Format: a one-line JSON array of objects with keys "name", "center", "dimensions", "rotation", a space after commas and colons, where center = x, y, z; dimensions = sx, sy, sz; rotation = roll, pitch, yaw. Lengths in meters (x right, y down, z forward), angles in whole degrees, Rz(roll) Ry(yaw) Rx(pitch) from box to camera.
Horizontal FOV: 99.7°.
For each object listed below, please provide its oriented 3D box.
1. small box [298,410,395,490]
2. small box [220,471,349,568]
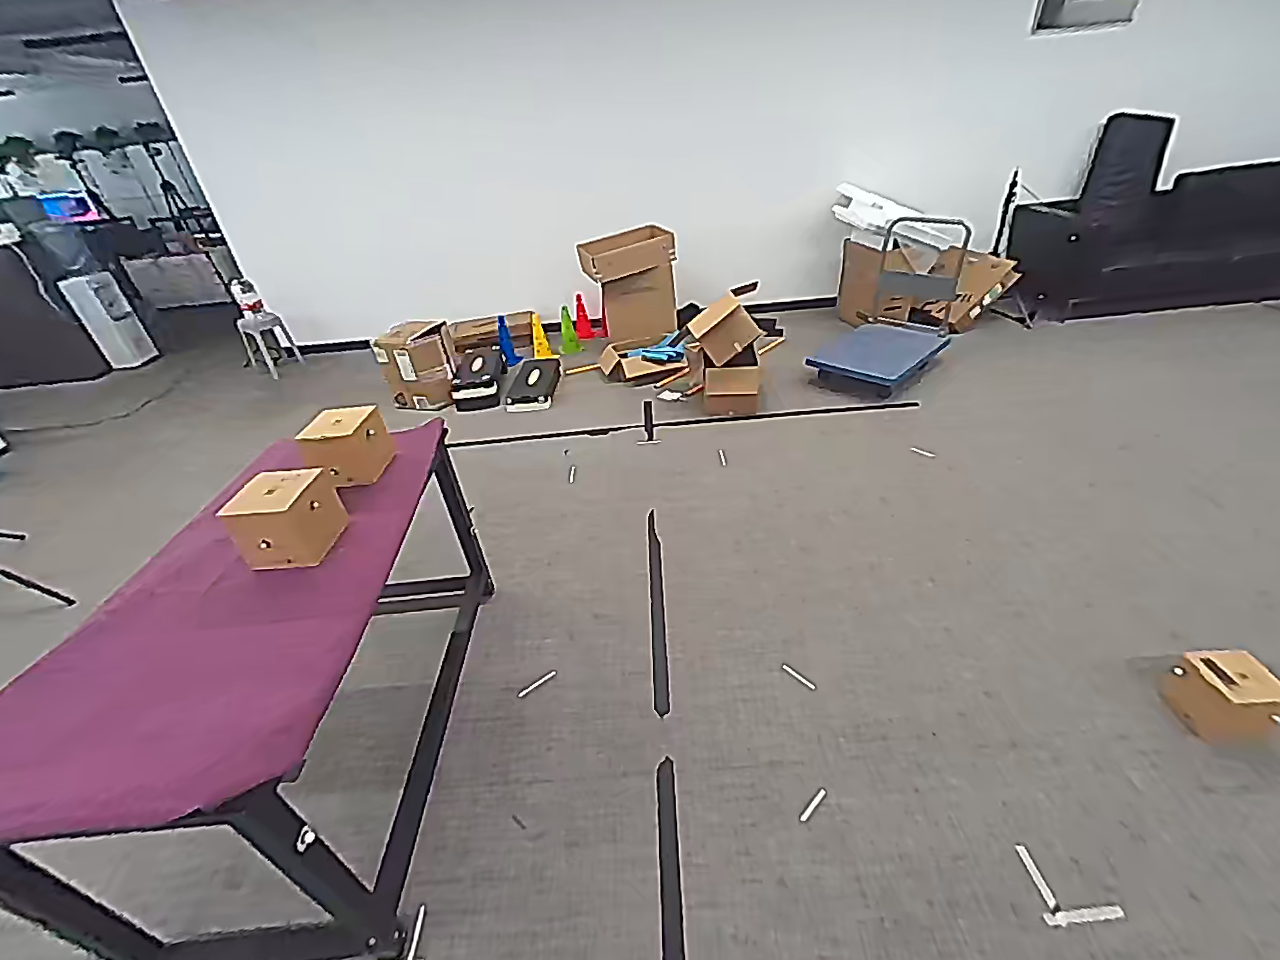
[{"name": "small box", "center": [-0.843, -0.088, 1.577], "dimensions": [0.168, 0.176, 0.179], "rotation": [-5, 35, 4]}, {"name": "small box", "center": [-0.837, 0.099, 1.297], "dimensions": [0.168, 0.176, 0.179], "rotation": [-4, 33, 3]}]
